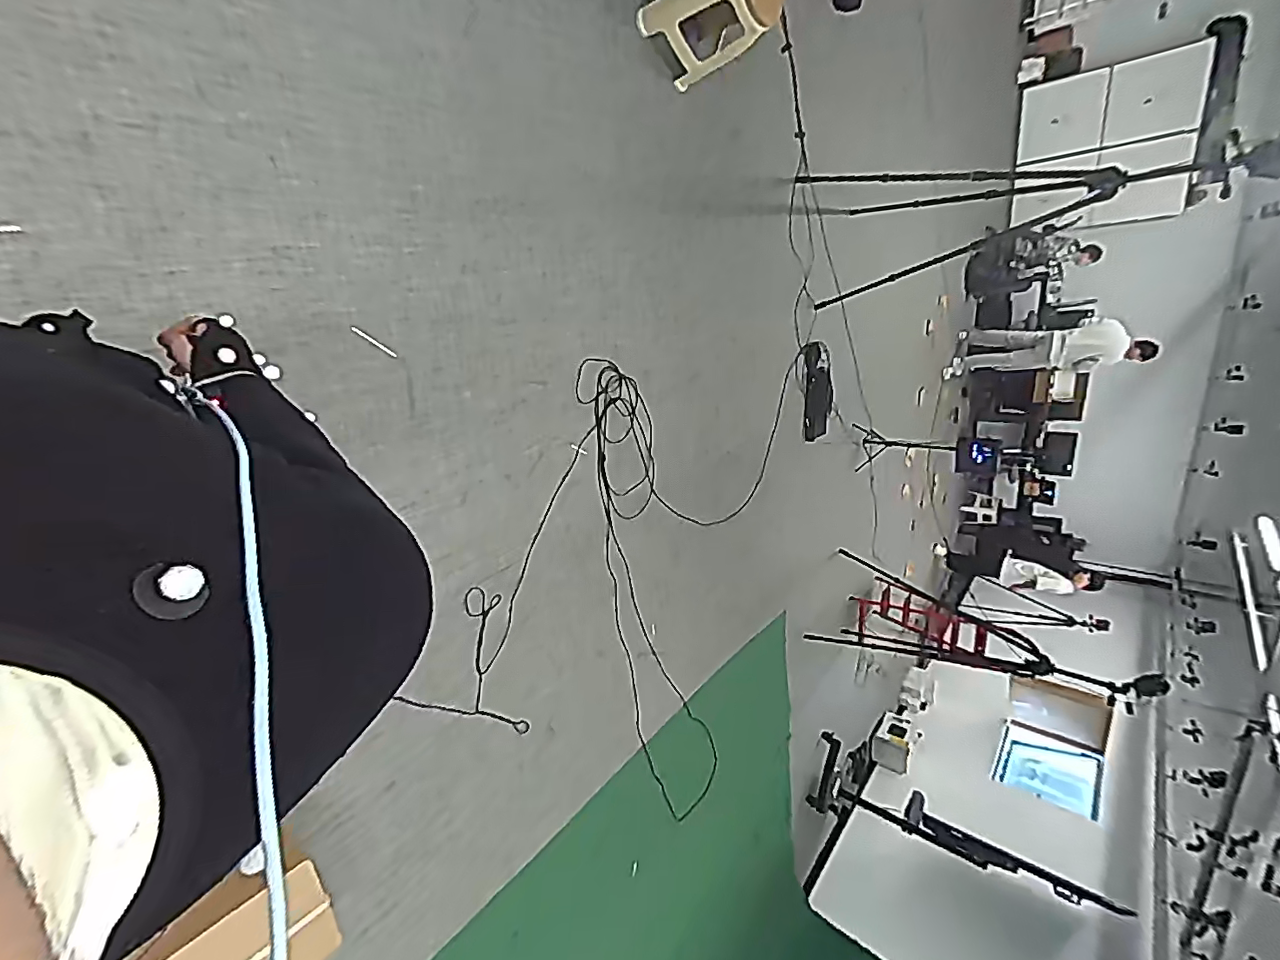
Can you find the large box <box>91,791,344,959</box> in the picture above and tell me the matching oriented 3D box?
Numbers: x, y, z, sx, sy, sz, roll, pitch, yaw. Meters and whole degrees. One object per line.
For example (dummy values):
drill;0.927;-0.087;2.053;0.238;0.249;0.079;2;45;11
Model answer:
large box;-1.046;1.106;1.362;0.408;0.320;0.320;-24;115;-42
